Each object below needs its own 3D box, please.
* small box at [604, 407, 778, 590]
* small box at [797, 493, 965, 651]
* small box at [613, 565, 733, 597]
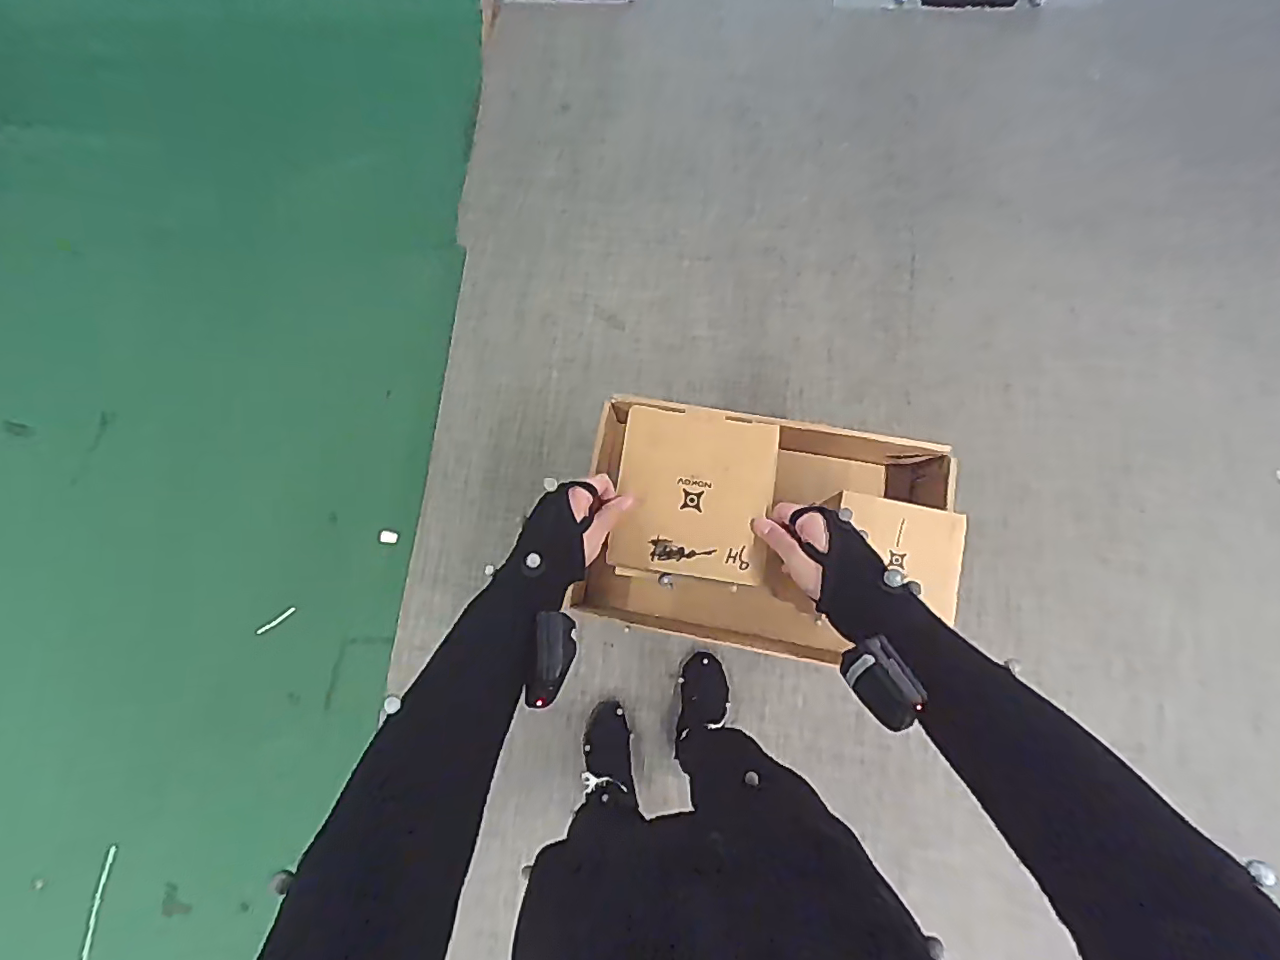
[{"bbox_3d":[0.058,0.032,0.650,0.168,0.176,0.179,9,79,4],"label":"small box"},{"bbox_3d":[0.336,0.132,0.785,0.168,0.176,0.179,13,80,6],"label":"small box"},{"bbox_3d":[0.062,0.070,0.811,0.168,0.176,0.179,9,81,4],"label":"small box"}]
